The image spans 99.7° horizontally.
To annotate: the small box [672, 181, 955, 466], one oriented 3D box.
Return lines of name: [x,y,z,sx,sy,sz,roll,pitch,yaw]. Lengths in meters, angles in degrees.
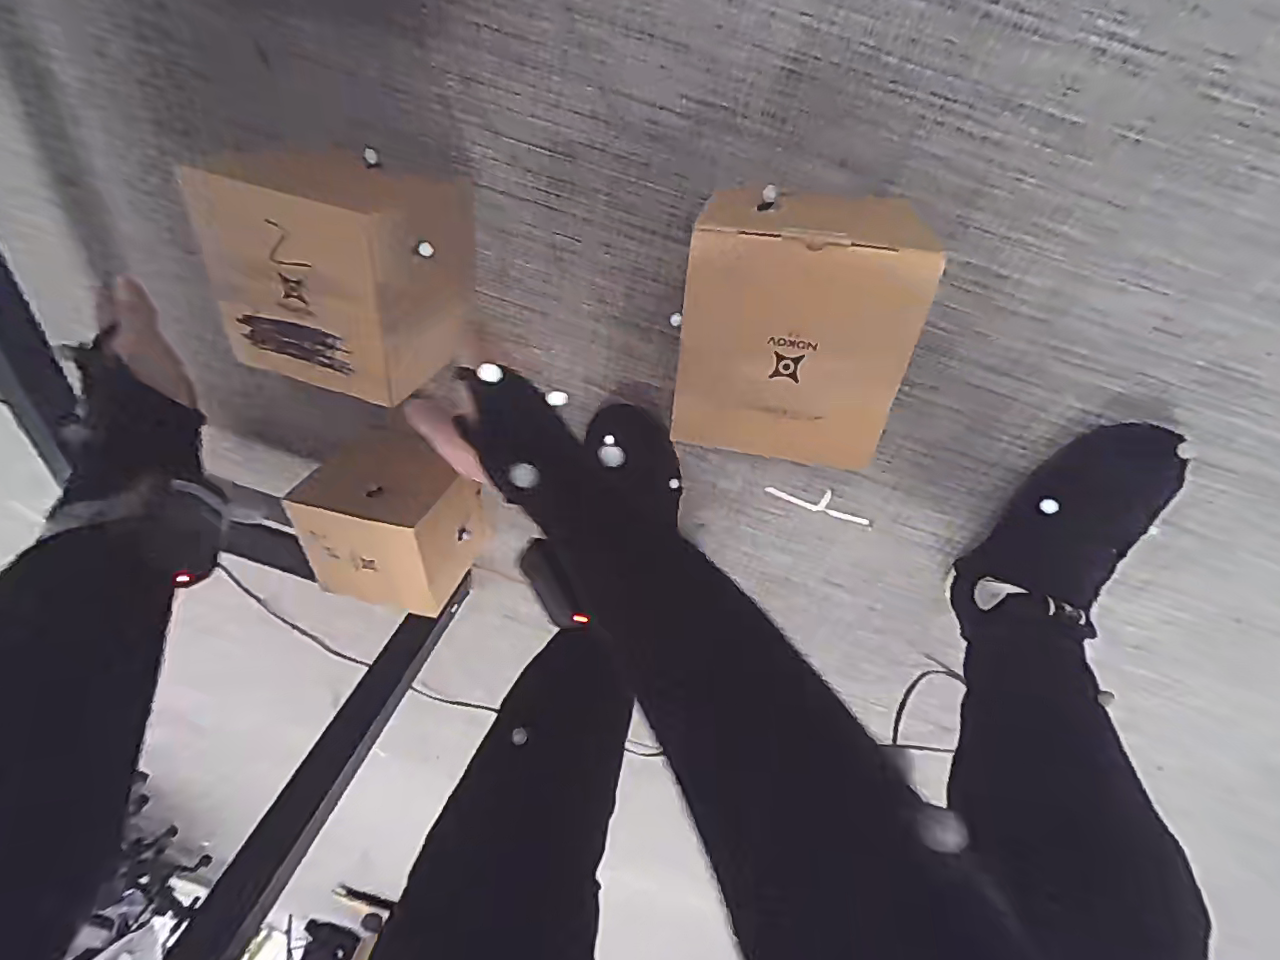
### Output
small box: [0.129,-0.140,0.458,0.168,0.176,0.179,11,128,8]

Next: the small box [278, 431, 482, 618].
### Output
small box: [-0.325,0.052,0.725,0.179,0.176,0.168,12,128,8]
